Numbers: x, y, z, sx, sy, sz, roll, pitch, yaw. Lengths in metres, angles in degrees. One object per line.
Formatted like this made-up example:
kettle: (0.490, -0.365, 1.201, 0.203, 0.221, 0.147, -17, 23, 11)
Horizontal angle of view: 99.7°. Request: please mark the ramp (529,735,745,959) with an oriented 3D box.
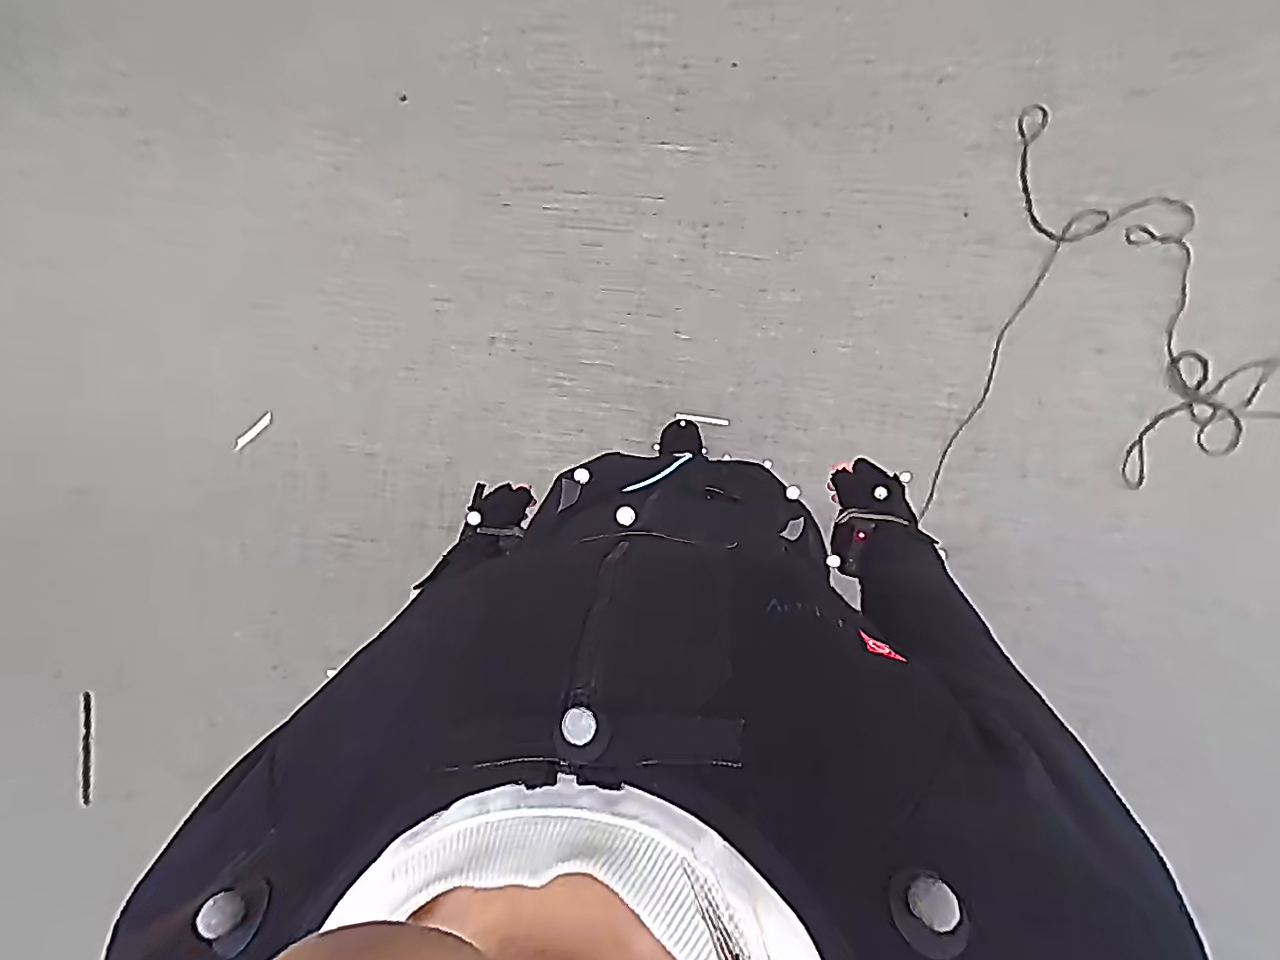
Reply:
ramp: (-0.046, 1.244, 1.455, 0.509, 0.206, 0.991, 9, 95, 9)
